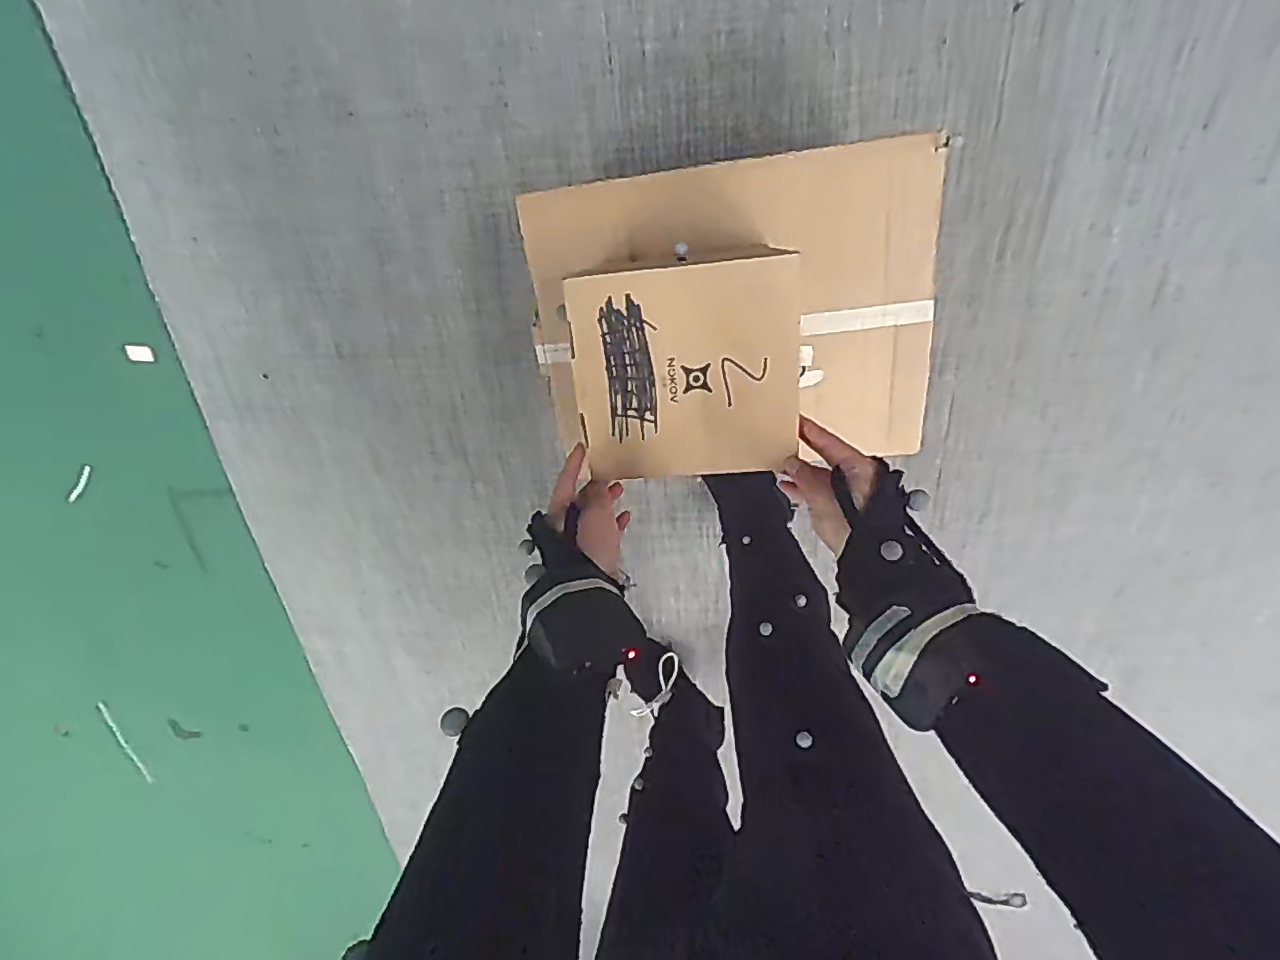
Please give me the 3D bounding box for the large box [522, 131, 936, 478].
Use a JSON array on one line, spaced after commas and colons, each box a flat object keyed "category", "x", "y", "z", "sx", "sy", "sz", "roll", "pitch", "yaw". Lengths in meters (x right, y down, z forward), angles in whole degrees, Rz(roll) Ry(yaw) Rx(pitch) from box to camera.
[{"category": "large box", "x": 0.106, "y": -0.220, "z": 0.711, "sx": 0.408, "sy": 0.320, "sz": 0.320, "roll": -5, "pitch": 114, "yaw": 7}]
